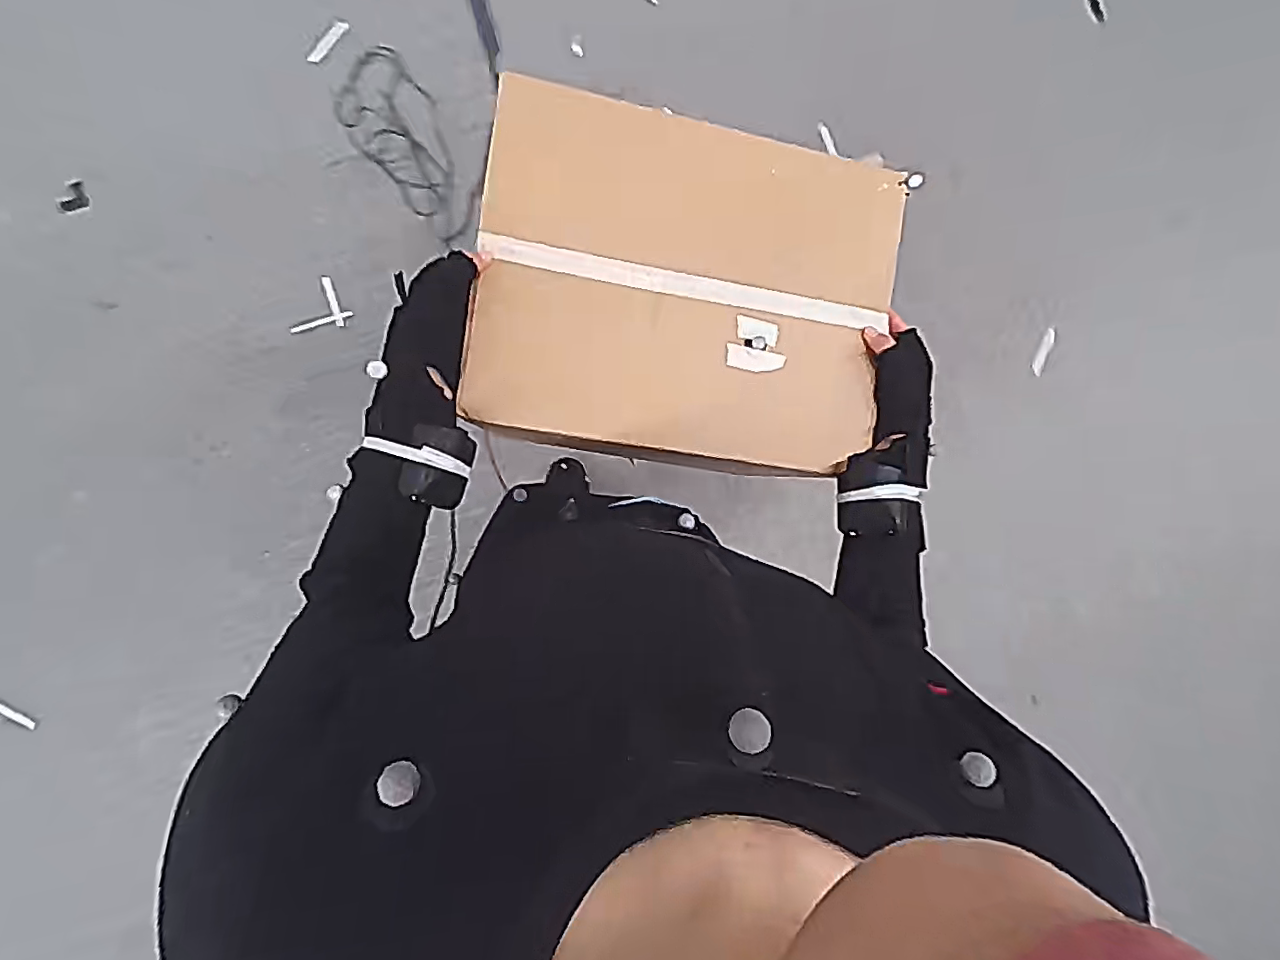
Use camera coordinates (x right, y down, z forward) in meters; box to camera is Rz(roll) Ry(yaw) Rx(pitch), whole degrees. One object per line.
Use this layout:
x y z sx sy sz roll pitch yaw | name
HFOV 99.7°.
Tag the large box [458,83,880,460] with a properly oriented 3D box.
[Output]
0.014 -0.199 0.675 0.408 0.320 0.320 7 91 -10 | large box
